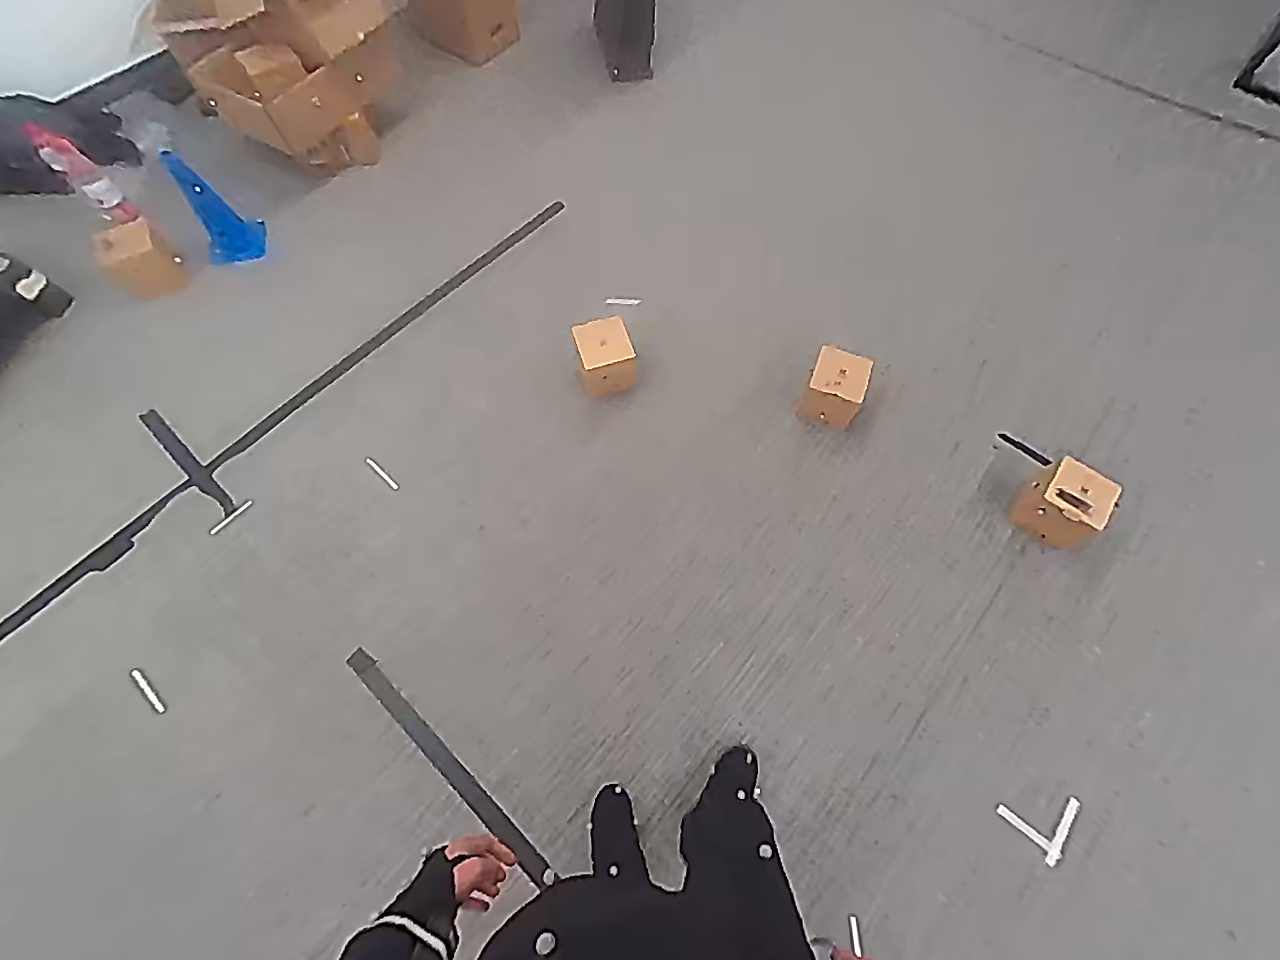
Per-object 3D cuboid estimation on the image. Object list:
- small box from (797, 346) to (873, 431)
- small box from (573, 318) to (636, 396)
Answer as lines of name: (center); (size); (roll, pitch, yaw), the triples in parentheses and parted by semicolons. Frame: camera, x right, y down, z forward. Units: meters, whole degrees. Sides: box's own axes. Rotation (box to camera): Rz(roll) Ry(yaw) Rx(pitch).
small box: (0.622, -0.290, 1.738); (0.168, 0.176, 0.179); (21, 68, 9)
small box: (-0.113, -0.396, 1.775); (0.168, 0.176, 0.179); (-17, 67, -7)
